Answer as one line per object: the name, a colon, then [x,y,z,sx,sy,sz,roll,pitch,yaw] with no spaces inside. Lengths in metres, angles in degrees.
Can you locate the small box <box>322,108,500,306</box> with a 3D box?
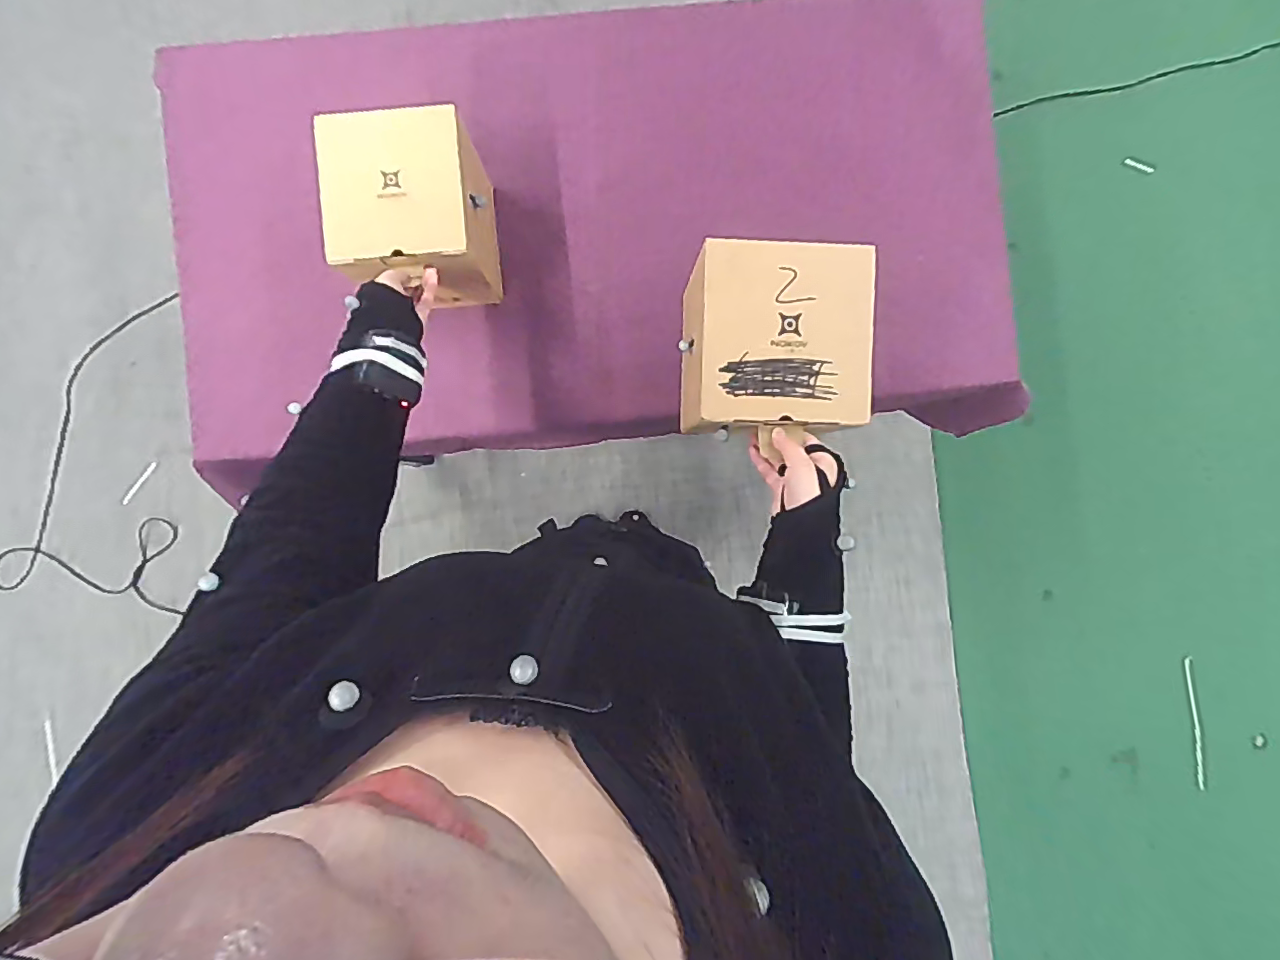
small box: [-0.291,-0.350,0.720,0.168,0.176,0.179,-5,90,-1]
